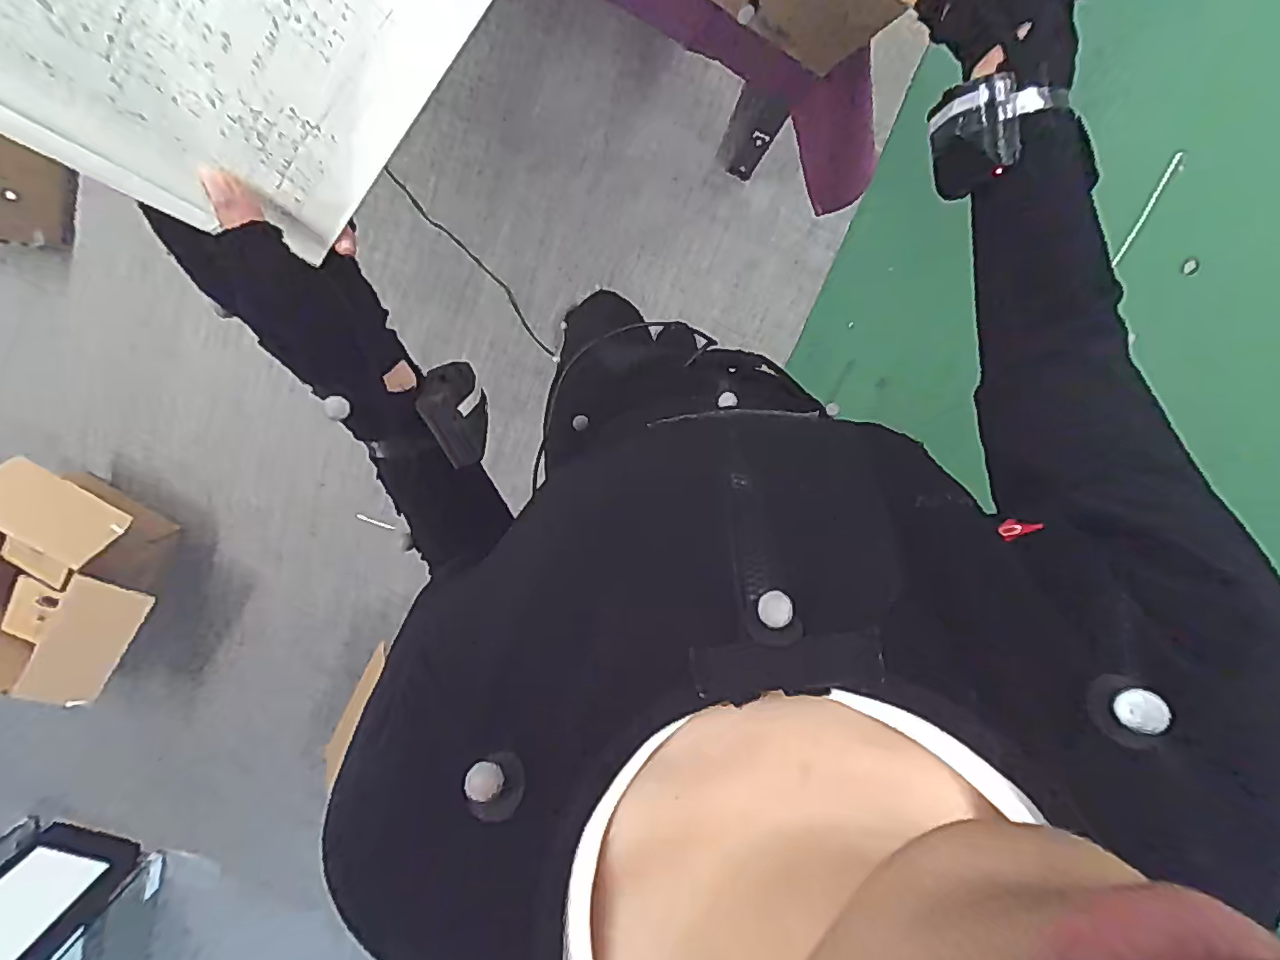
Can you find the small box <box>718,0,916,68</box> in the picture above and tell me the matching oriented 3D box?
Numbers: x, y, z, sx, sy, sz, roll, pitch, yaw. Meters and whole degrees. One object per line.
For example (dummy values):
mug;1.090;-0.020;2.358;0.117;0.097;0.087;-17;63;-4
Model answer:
small box;0.160;-0.484;0.429;0.168;0.176;0.179;23;108;-15
